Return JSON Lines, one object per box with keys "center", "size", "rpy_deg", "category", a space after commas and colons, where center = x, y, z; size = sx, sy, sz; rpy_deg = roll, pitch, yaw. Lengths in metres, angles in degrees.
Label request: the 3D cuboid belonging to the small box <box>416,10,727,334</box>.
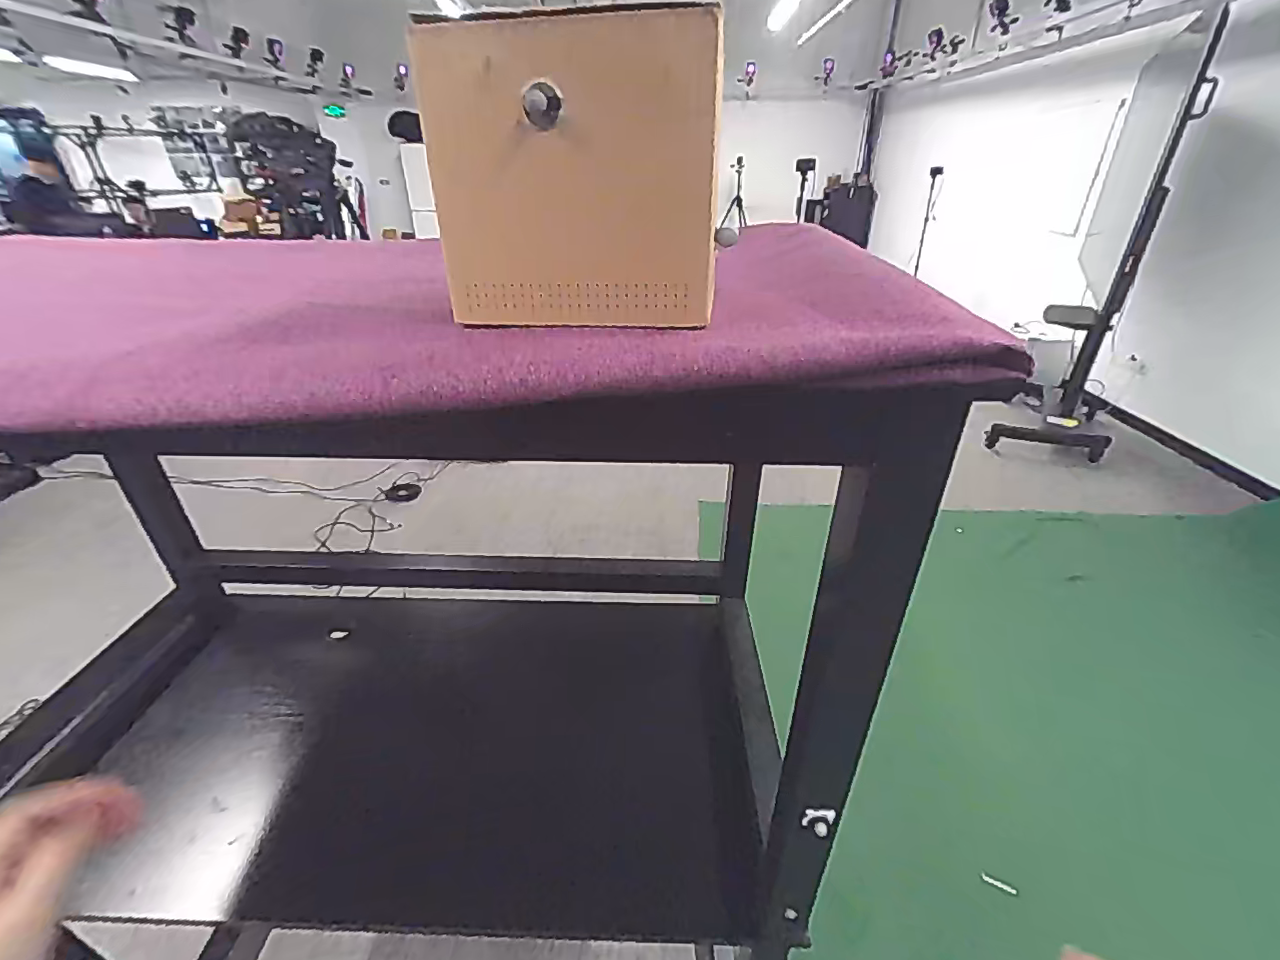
{"center": [-0.029, -0.208, 0.396], "size": [0.179, 0.176, 0.168], "rpy_deg": [4, 29, 7], "category": "small box"}
